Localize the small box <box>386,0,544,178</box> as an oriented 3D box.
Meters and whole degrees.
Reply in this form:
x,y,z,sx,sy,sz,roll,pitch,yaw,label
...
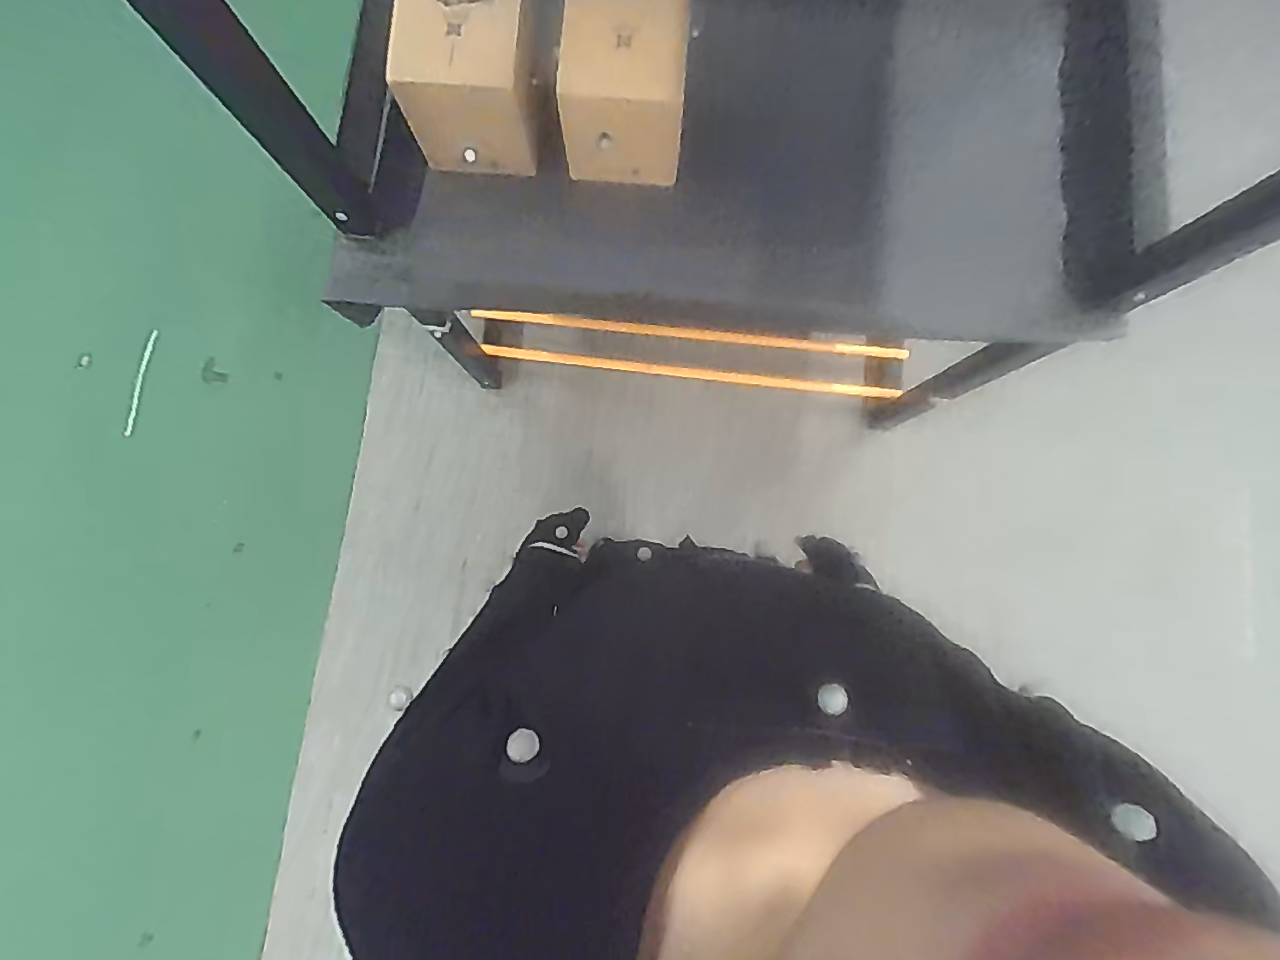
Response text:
x,y,z,sx,sy,sz,roll,pitch,yaw,label
-0.237,-0.575,0.777,0.168,0.176,0.179,4,83,0,small box
